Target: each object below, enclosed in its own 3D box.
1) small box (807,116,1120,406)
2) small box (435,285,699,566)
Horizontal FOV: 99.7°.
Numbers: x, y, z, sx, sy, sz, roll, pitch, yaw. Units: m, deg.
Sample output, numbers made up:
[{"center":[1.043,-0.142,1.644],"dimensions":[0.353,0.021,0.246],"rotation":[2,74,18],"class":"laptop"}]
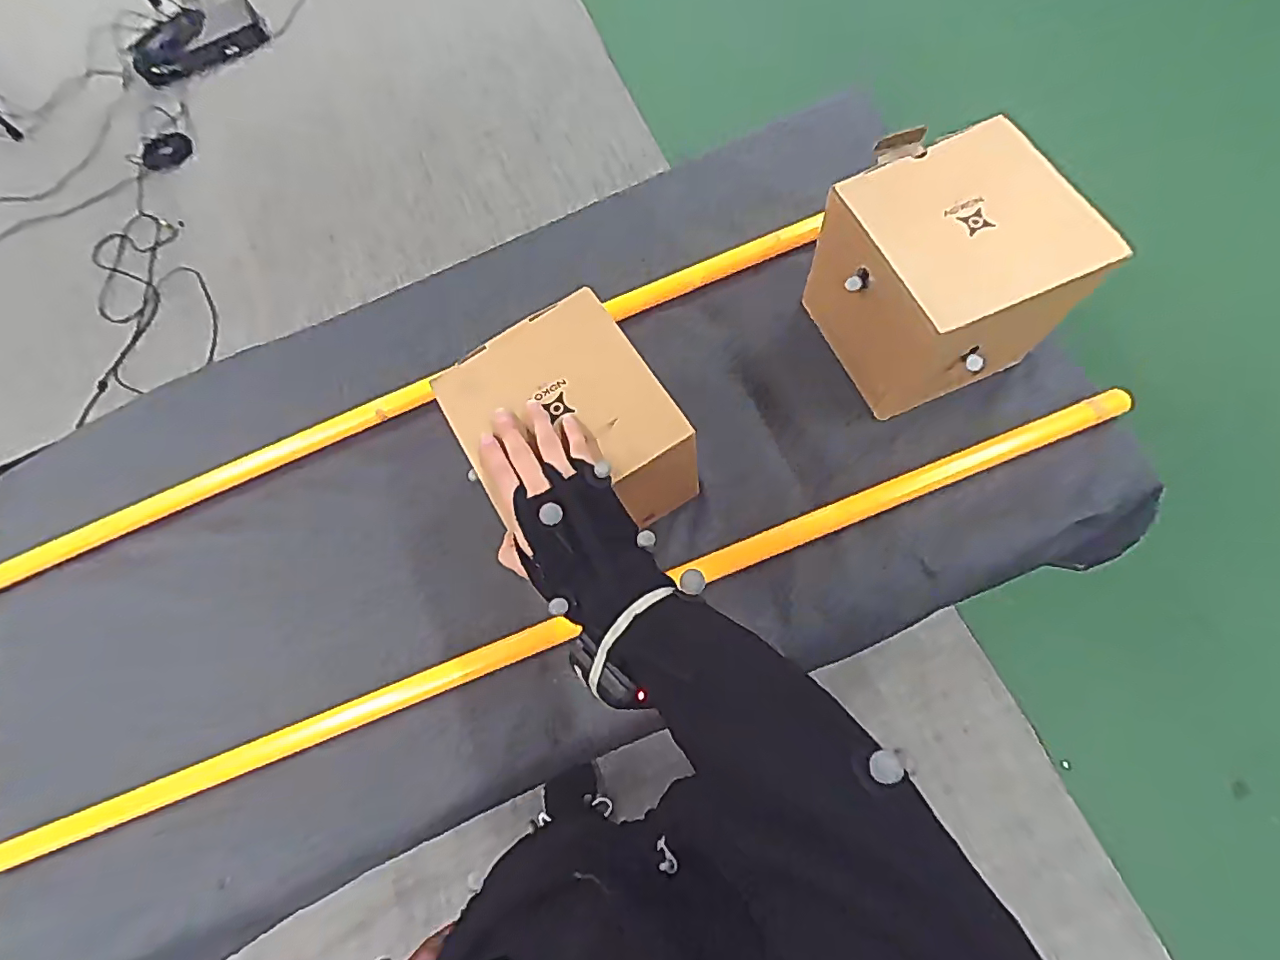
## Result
[{"center":[0.284,-0.193,0.527],"dimensions":[0.168,0.176,0.179],"rotation":[-23,69,0],"class":"small box"},{"center":[-0.057,-0.039,0.520],"dimensions":[0.168,0.176,0.179],"rotation":[-33,71,-4],"class":"small box"}]
